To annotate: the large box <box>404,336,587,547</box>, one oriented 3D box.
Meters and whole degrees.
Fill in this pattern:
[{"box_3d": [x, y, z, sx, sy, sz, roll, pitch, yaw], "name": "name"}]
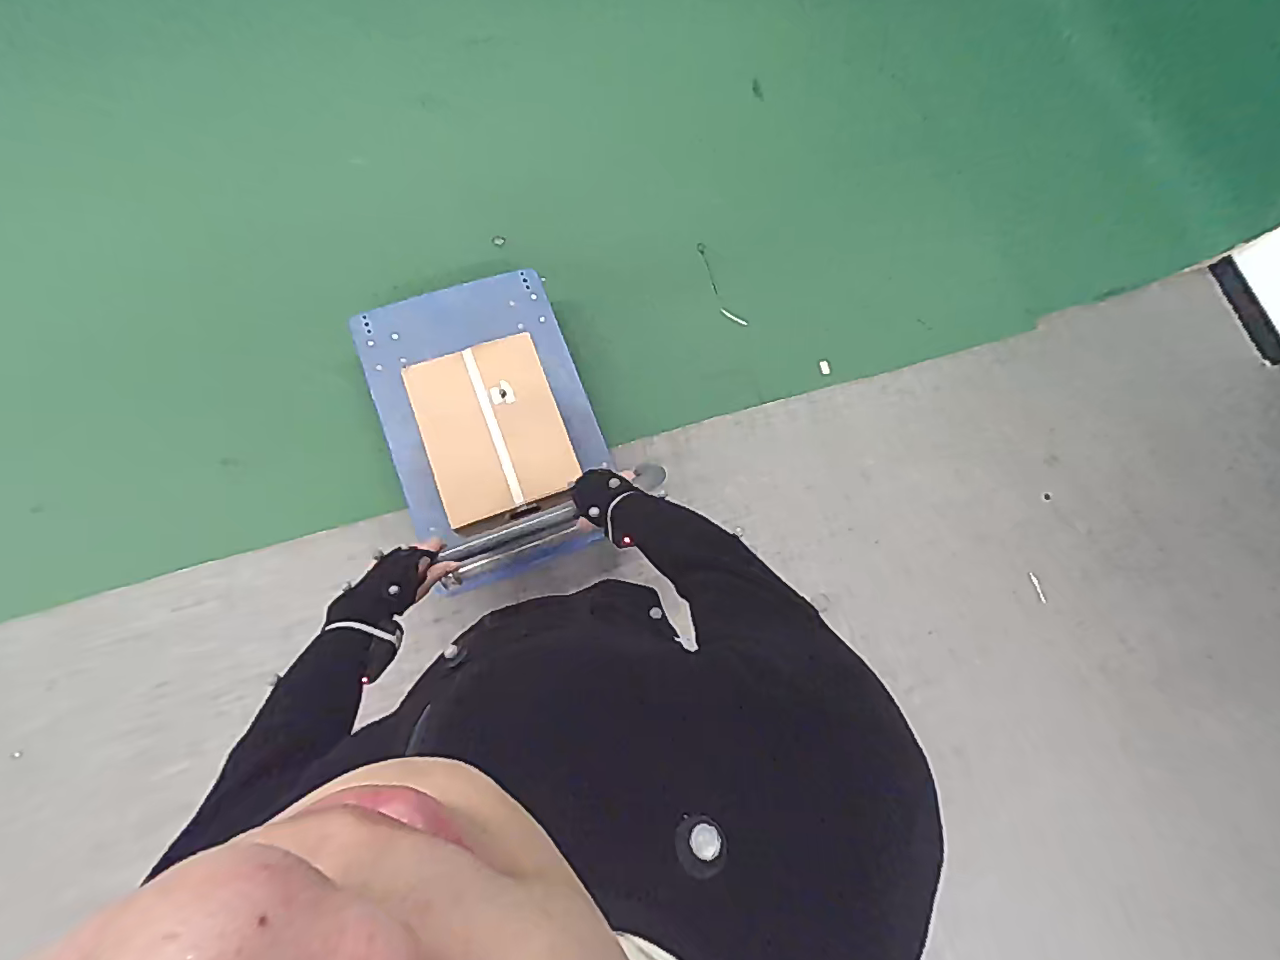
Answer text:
[{"box_3d": [-0.347, -0.083, 1.382, 0.320, 0.320, 0.408, -20, 79, -11], "name": "large box"}]
